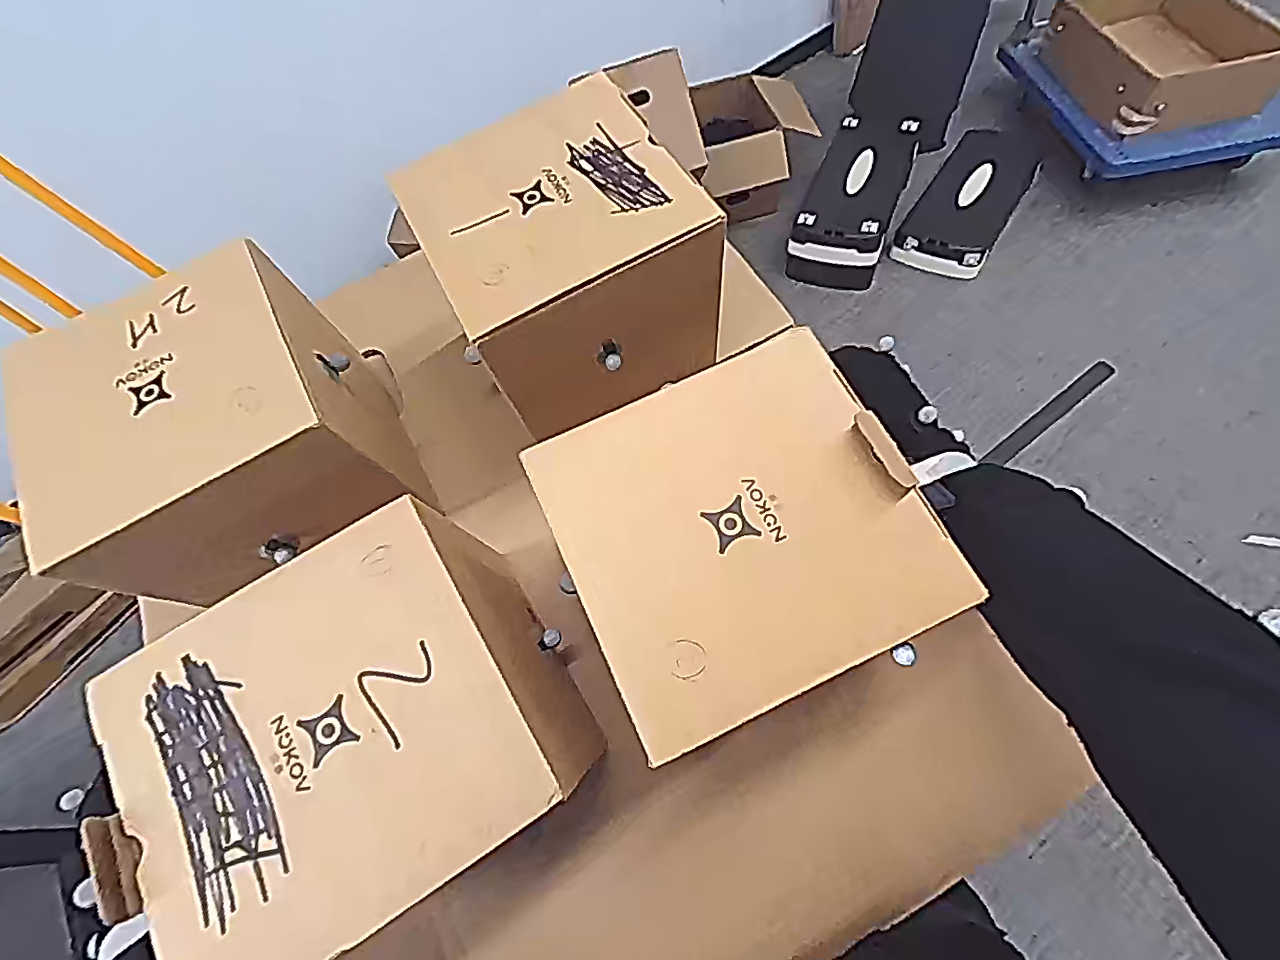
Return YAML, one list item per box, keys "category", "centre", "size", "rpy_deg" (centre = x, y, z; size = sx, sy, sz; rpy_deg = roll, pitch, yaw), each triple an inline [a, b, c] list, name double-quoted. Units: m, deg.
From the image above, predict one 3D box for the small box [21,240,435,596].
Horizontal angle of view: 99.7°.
- category: "small box"
  centre: [-0.283, -0.028, 0.404]
  size: [0.168, 0.176, 0.179]
  rpy_deg: [-29, 68, -6]
